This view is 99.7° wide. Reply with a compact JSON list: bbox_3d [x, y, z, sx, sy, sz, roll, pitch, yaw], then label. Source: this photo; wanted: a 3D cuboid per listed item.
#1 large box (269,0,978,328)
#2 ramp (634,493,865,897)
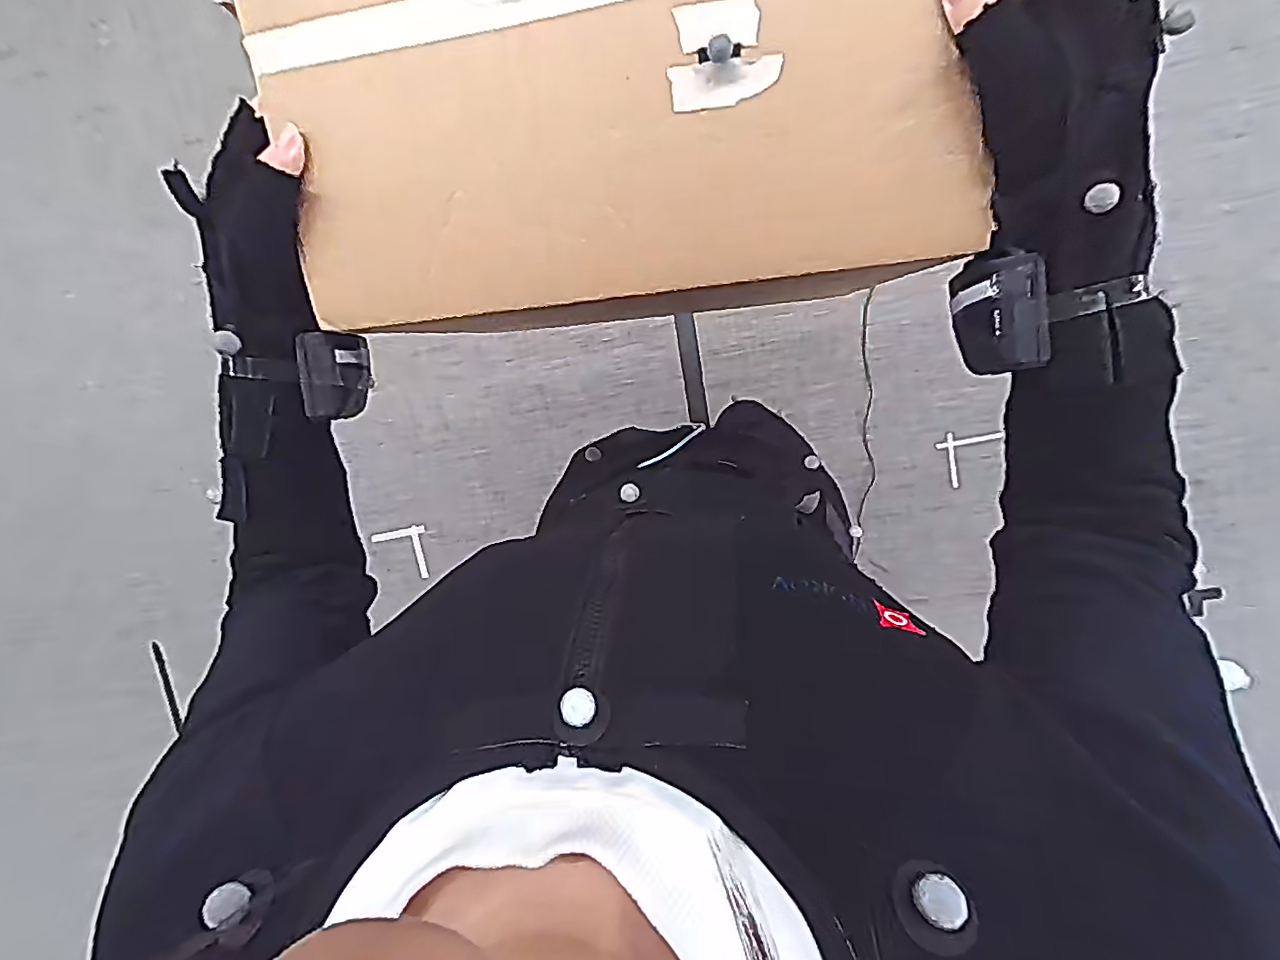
[{"bbox_3d":[-0.007,-0.310,0.443,0.408,0.320,0.320,-4,105,8],"label":"large box"},{"bbox_3d":[0.264,0.551,1.403,0.509,0.206,0.991,-8,95,11],"label":"ramp"}]
